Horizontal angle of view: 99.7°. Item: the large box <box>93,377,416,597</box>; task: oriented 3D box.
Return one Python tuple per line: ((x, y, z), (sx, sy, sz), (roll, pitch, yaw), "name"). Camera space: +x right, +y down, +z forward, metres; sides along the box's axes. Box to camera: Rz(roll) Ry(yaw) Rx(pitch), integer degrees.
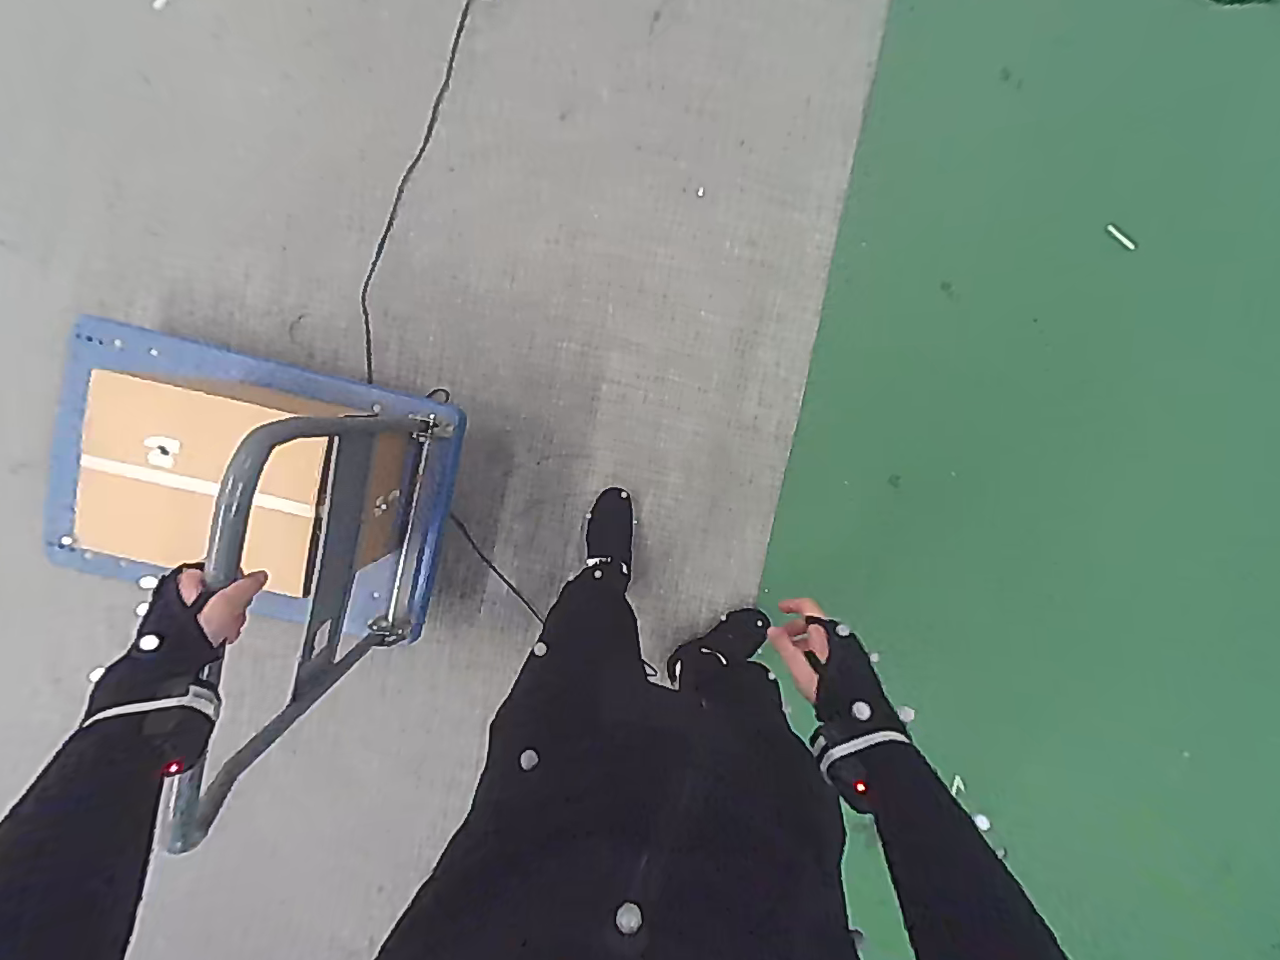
((-0.717, 0.000, 1.066), (0.408, 0.320, 0.320), (13, 95, 0), "large box")
